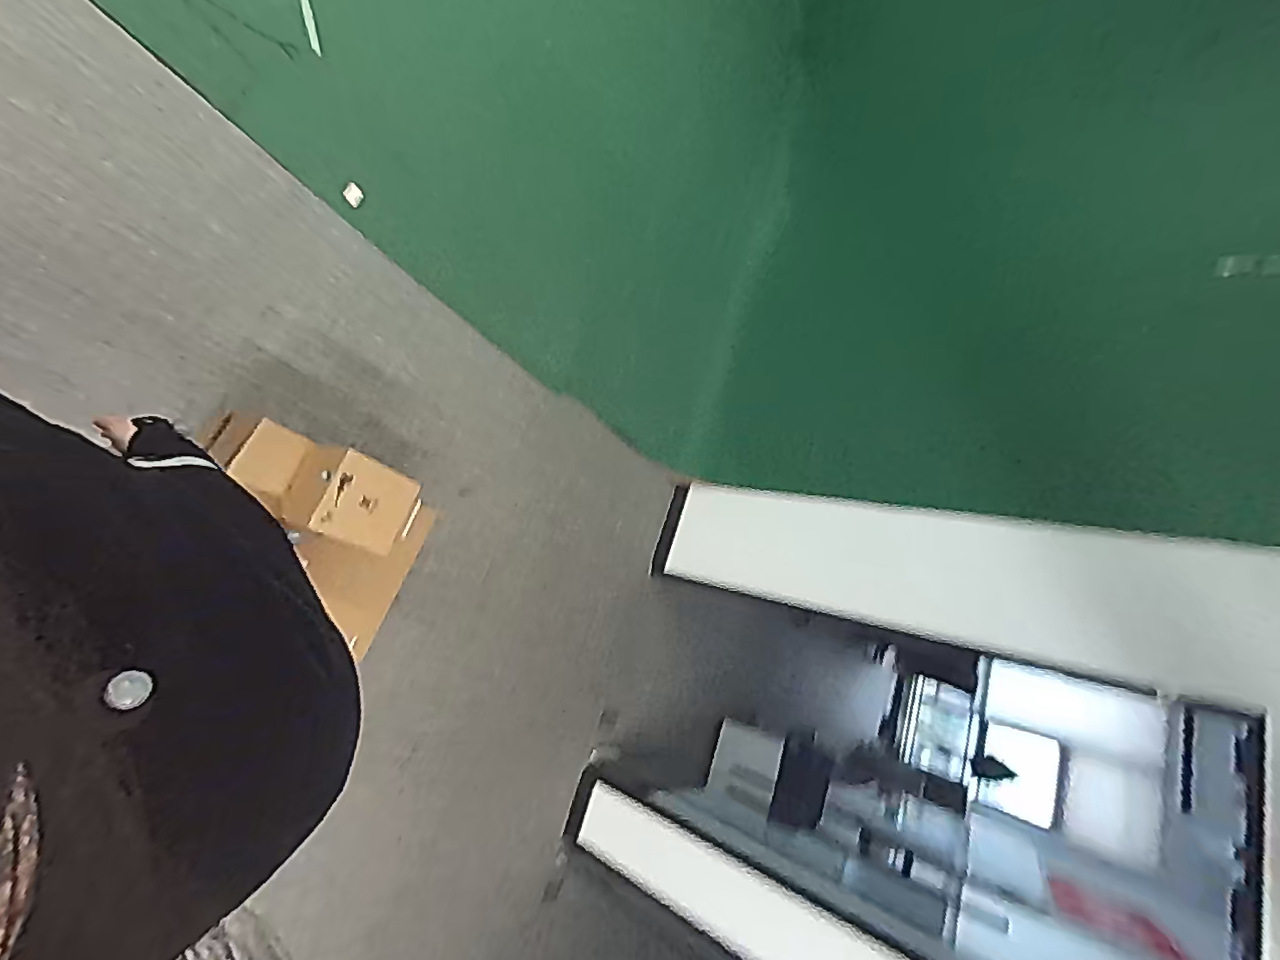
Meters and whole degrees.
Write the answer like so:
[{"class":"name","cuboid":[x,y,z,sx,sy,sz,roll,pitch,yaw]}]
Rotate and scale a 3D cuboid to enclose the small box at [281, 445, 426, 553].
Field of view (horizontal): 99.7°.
[{"class":"small box","cuboid":[-0.597,0.035,1.131,0.179,0.176,0.168,42,63,-50]}]
